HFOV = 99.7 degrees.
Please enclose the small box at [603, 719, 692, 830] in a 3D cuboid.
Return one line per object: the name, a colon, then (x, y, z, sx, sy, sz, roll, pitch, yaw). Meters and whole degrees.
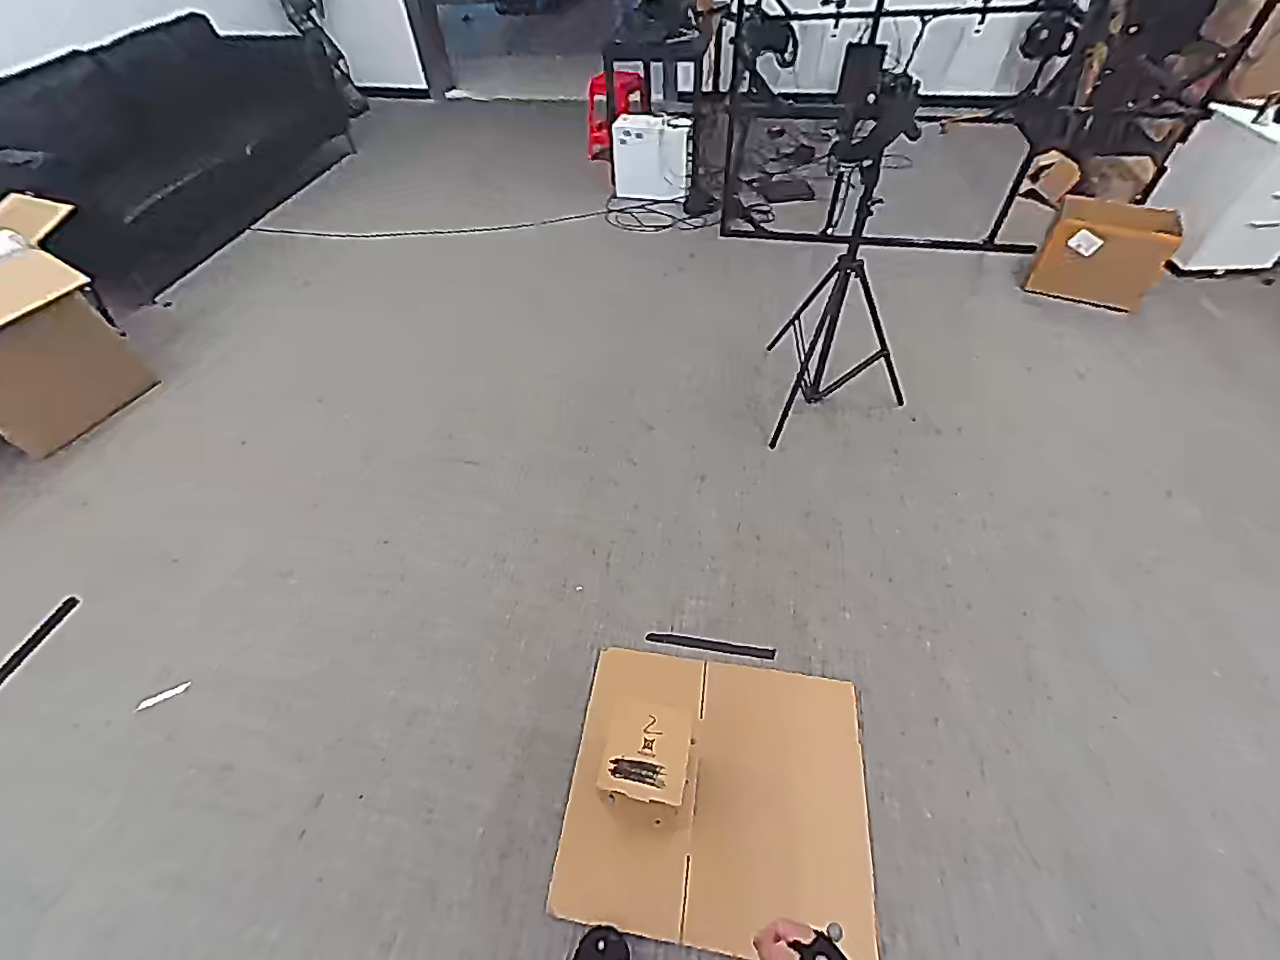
small box: (0.022, 0.683, 1.249, 0.168, 0.176, 0.179, 10, 50, 9)
